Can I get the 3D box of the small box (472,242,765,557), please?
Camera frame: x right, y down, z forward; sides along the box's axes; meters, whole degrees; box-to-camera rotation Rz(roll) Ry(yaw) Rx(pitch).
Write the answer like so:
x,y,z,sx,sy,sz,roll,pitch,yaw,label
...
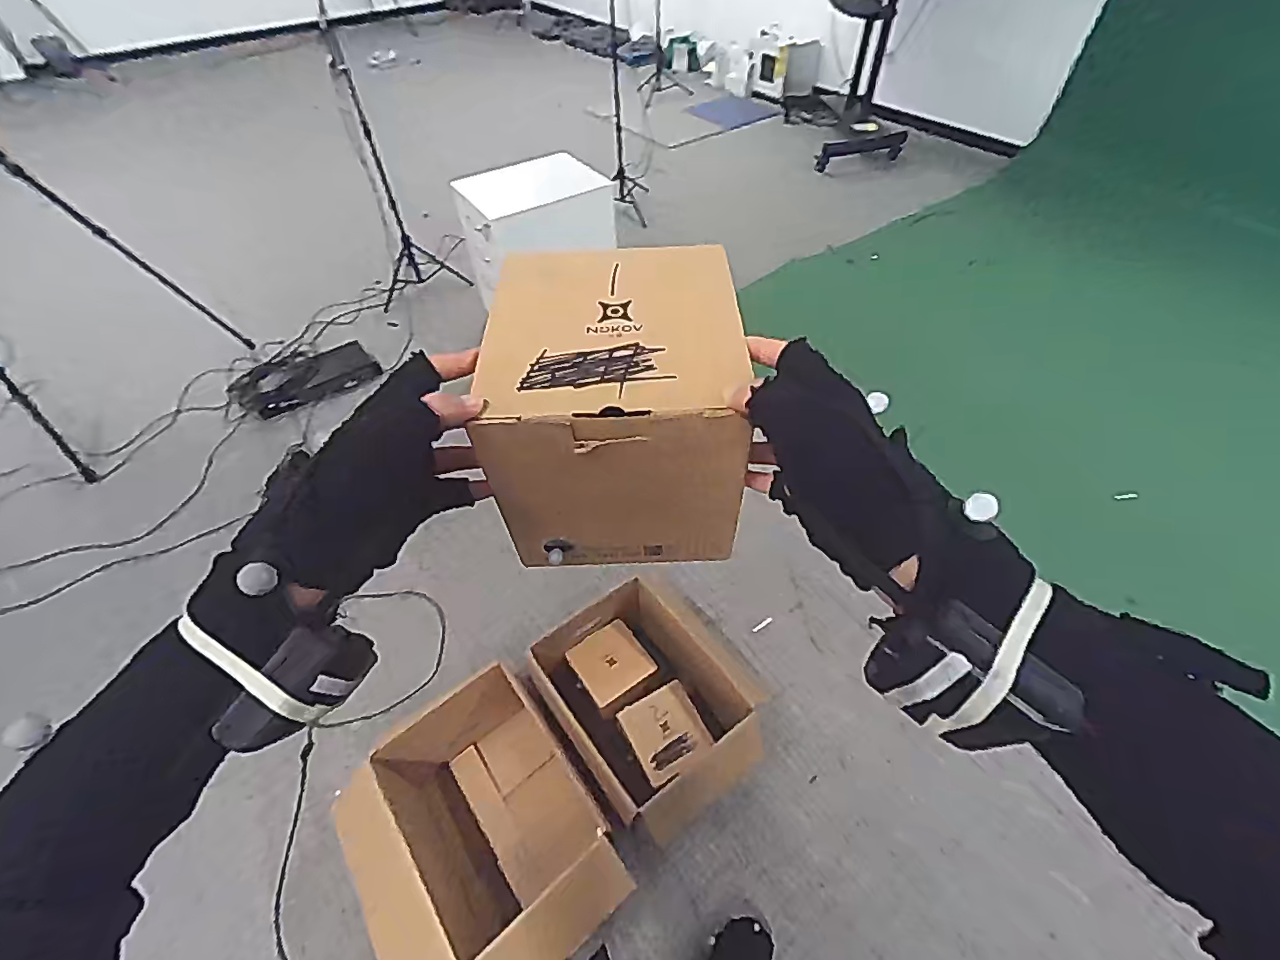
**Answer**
x,y,z,sx,sy,sz,roll,pitch,yaw,label
-0.009,-0.052,0.406,0.168,0.176,0.179,-2,51,1,small box
